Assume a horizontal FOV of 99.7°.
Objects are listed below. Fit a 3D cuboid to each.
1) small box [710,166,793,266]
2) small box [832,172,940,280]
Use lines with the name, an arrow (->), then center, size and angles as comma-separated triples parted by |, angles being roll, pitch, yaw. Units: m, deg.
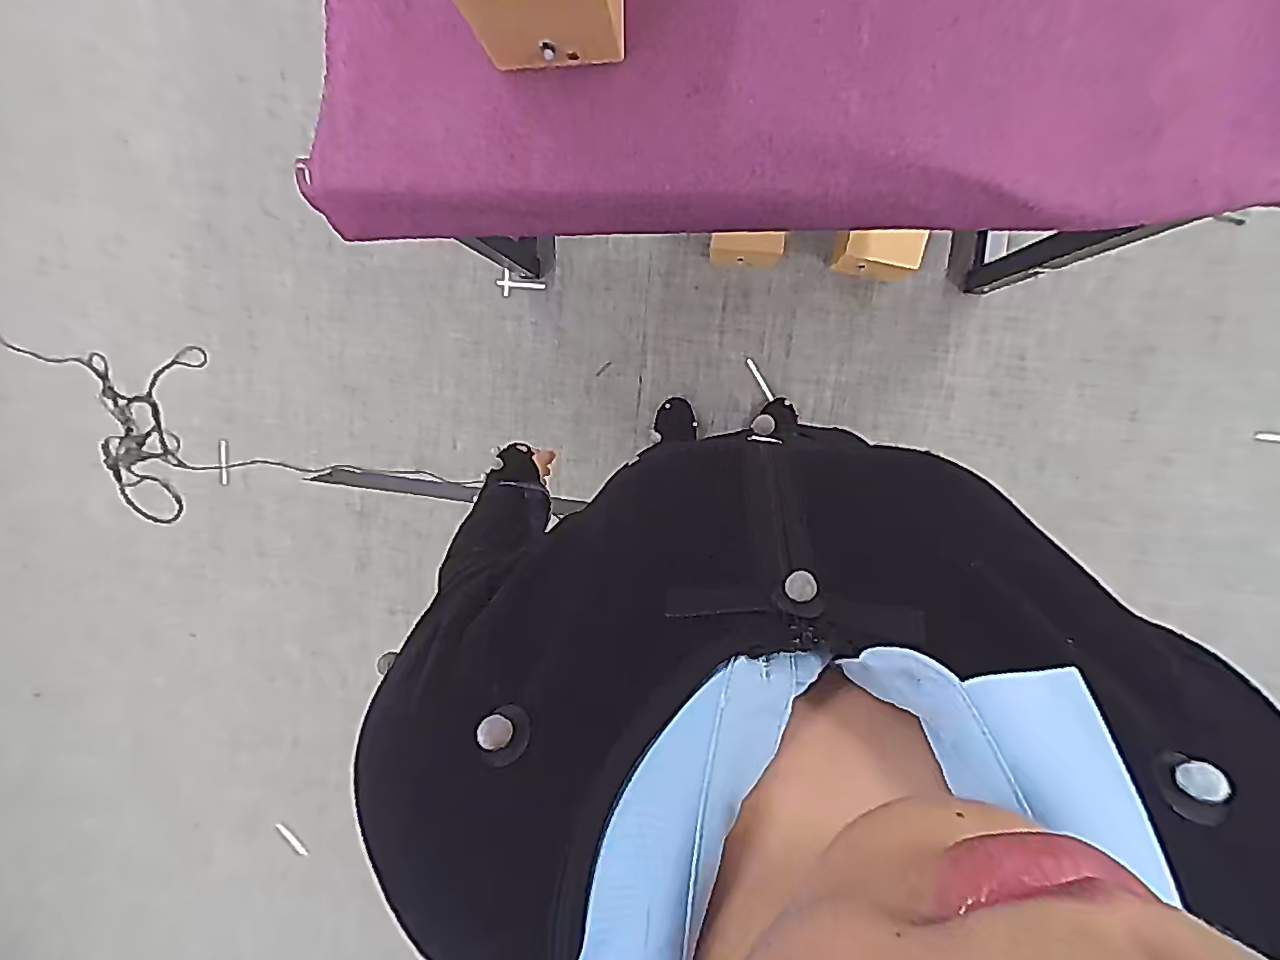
small box -> 0.260, -0.625, 1.299 | 0.168, 0.176, 0.179 | 7, 100, 5
small box -> 0.565, -0.585, 1.271 | 0.168, 0.176, 0.179 | 14, 100, 5
